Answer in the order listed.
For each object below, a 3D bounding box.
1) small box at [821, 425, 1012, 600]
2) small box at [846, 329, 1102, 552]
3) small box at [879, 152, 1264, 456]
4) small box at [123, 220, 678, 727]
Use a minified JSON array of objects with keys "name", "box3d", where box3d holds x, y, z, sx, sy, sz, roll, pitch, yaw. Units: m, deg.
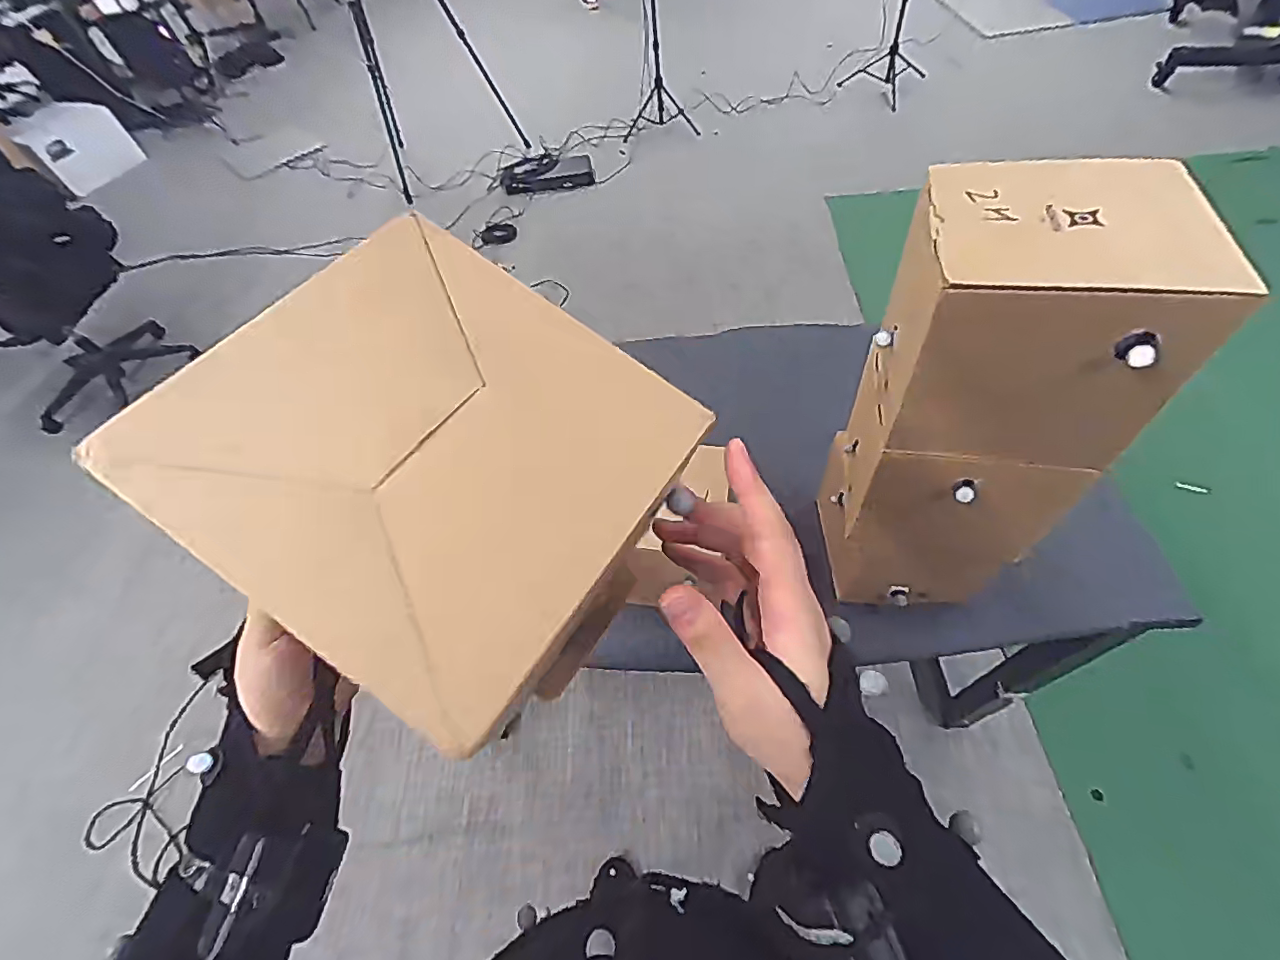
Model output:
[{"name":"small box","box3d":[0.344,0.043,0.710,0.168,0.176,0.179,-4,55,7]},{"name":"small box","box3d":[0.324,-0.038,0.570,0.179,0.176,0.168,5,55,13]},{"name":"small box","box3d":[0.306,-0.135,0.438,0.179,0.176,0.168,6,55,14]},{"name":"small box","box3d":[-0.095,0.009,0.288,0.179,0.176,0.168,34,66,3]}]
